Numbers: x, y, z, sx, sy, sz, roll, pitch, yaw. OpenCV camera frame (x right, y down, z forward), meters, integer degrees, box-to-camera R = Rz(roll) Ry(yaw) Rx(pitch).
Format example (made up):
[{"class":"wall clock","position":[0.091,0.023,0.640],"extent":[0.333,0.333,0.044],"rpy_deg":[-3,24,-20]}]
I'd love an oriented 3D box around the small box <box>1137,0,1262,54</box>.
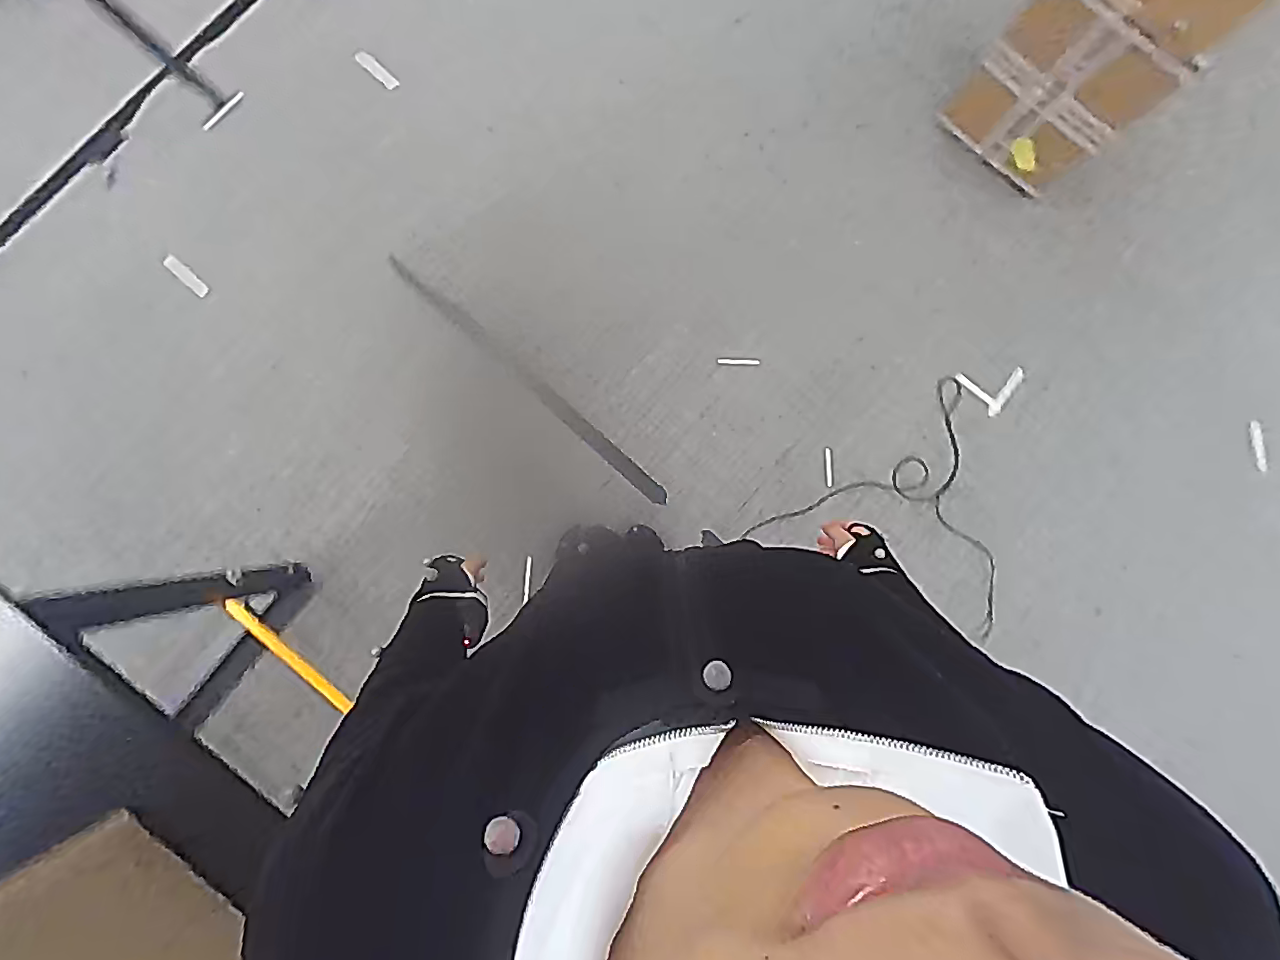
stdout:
[{"class":"small box","position":[1.176,-1.031,1.088],"extent":[0.168,0.176,0.179],"rpy_deg":[38,87,1]}]
